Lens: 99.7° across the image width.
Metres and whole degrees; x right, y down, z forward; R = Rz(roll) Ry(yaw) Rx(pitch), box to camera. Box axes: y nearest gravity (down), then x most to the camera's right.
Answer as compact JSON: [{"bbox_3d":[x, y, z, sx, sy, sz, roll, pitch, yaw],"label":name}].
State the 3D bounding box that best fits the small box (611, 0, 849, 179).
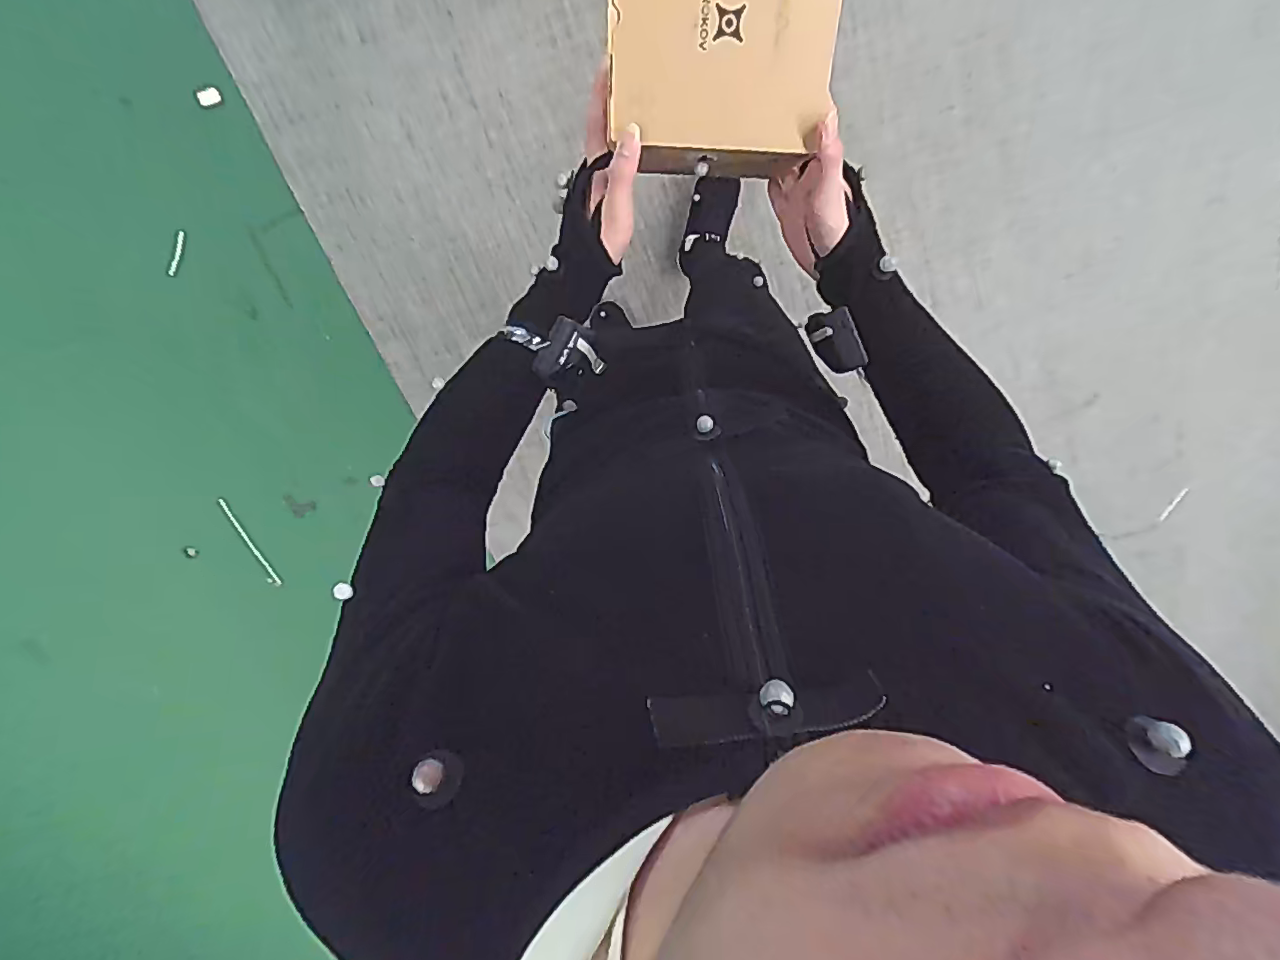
[{"bbox_3d":[0.067,-0.372,0.479,0.179,0.176,0.168,2,113,-2],"label":"small box"}]
